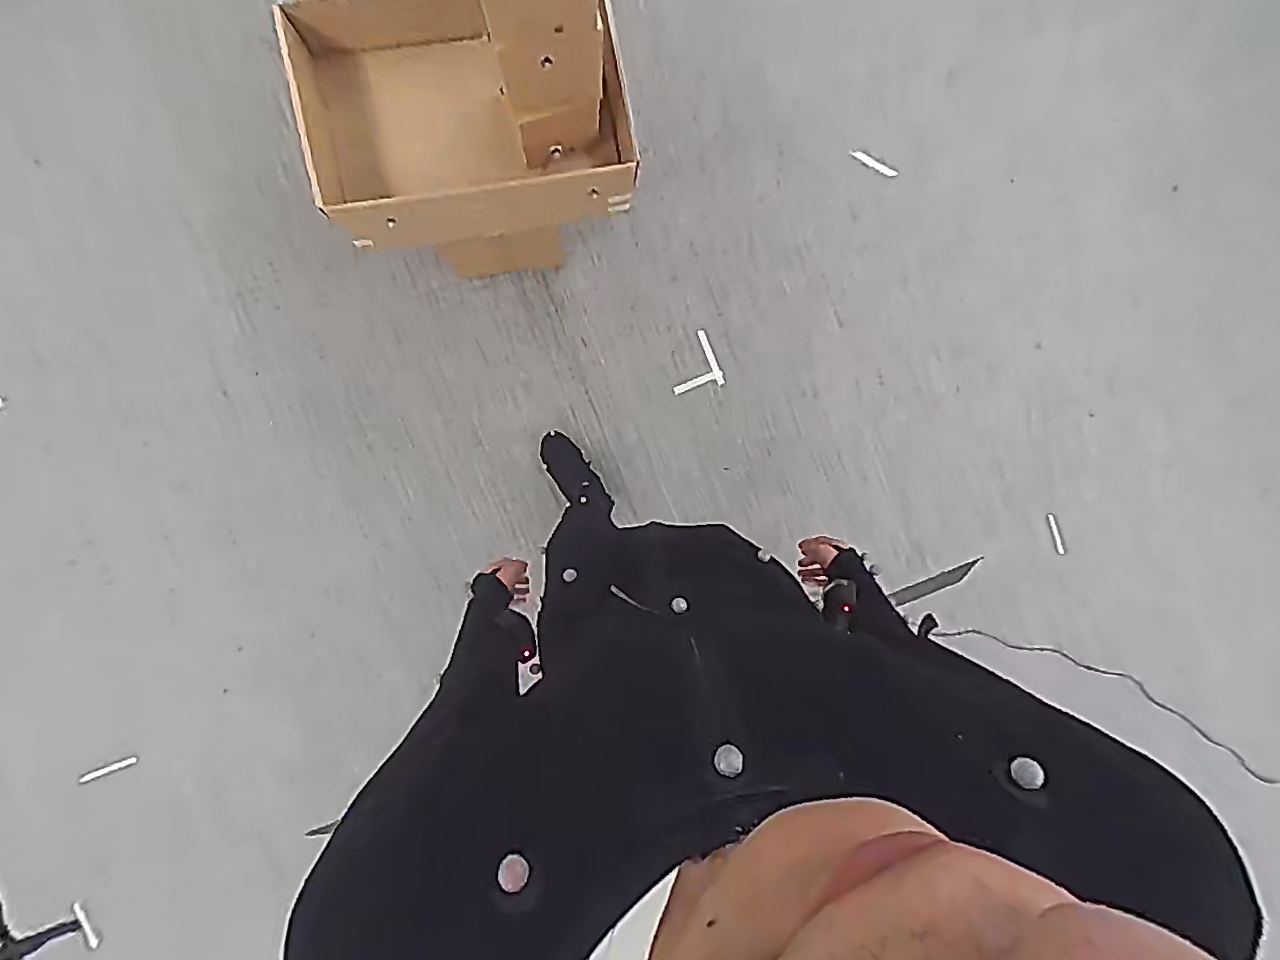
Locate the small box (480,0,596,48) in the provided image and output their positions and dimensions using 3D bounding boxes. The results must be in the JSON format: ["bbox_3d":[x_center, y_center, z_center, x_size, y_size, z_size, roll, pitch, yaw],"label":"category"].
[{"bbox_3d":[-0.153,-0.758,0.754,0.168,0.176,0.179,-9,91,-4],"label":"small box"}]

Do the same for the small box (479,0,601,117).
[{"bbox_3d":[-0.168,-0.757,0.918,0.179,0.176,0.168,-15,93,-4],"label":"small box"}]
